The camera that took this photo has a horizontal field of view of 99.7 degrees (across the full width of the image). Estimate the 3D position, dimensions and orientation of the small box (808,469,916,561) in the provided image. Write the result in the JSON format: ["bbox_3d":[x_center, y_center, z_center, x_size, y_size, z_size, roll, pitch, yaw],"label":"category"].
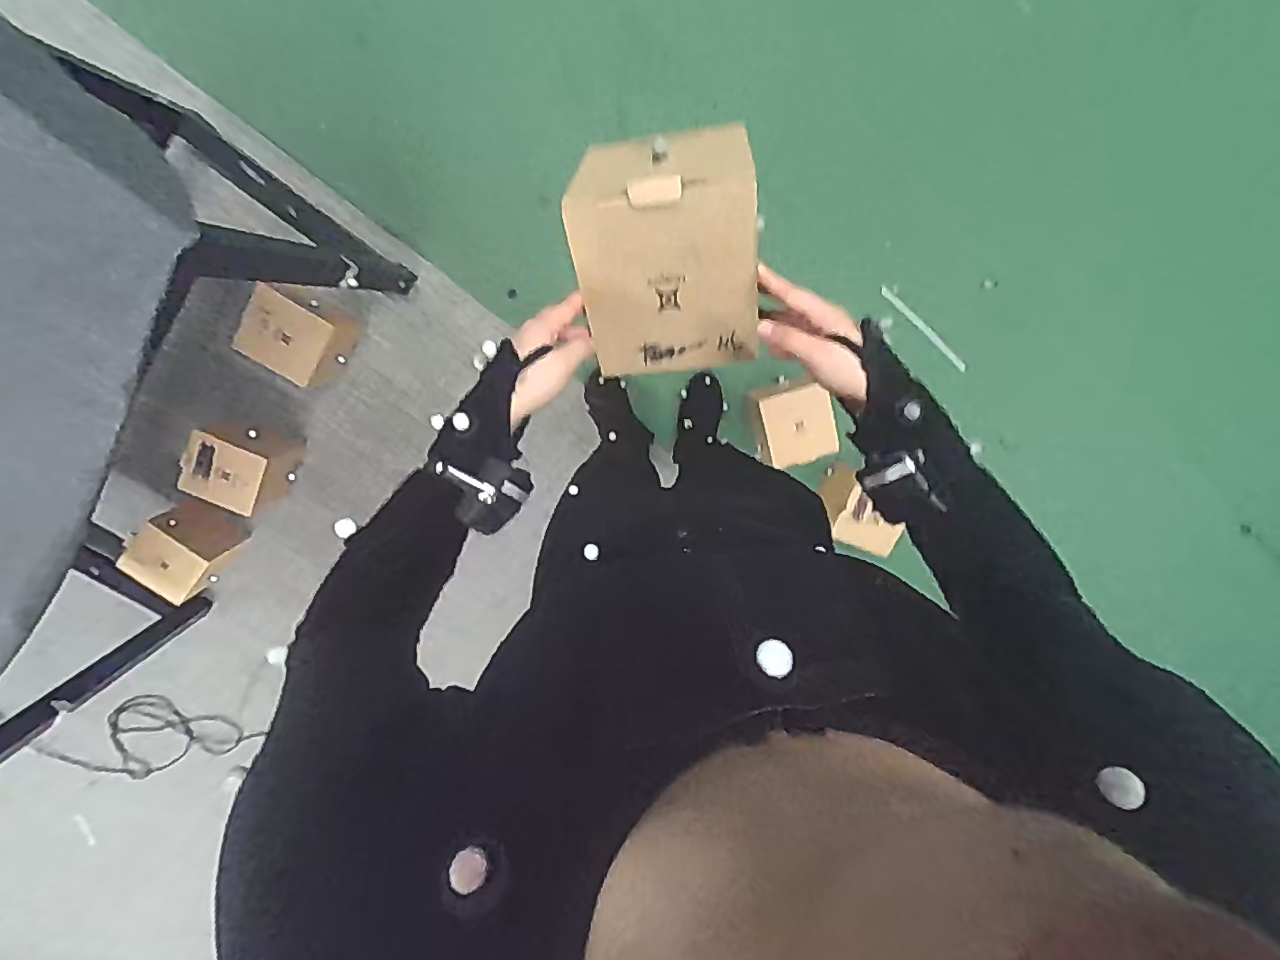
[{"bbox_3d":[0.571,0.084,1.420,0.179,0.176,0.168,21,105,-9],"label":"small box"}]

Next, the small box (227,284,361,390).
[{"bbox_3d":[-0.789,-0.335,1.254,0.179,0.176,0.168,32,103,-11],"label":"small box"}]

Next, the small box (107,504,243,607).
[{"bbox_3d":[-1.197,0.188,1.408,0.179,0.176,0.168,41,102,-12],"label":"small box"}]

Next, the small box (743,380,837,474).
[{"bbox_3d":[0.368,-0.136,1.348,0.168,0.176,0.179,-17,106,3],"label":"small box"}]

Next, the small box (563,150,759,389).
[{"bbox_3d":[0.030,-0.218,0.554,0.168,0.176,0.179,-4,134,9],"label":"small box"}]
